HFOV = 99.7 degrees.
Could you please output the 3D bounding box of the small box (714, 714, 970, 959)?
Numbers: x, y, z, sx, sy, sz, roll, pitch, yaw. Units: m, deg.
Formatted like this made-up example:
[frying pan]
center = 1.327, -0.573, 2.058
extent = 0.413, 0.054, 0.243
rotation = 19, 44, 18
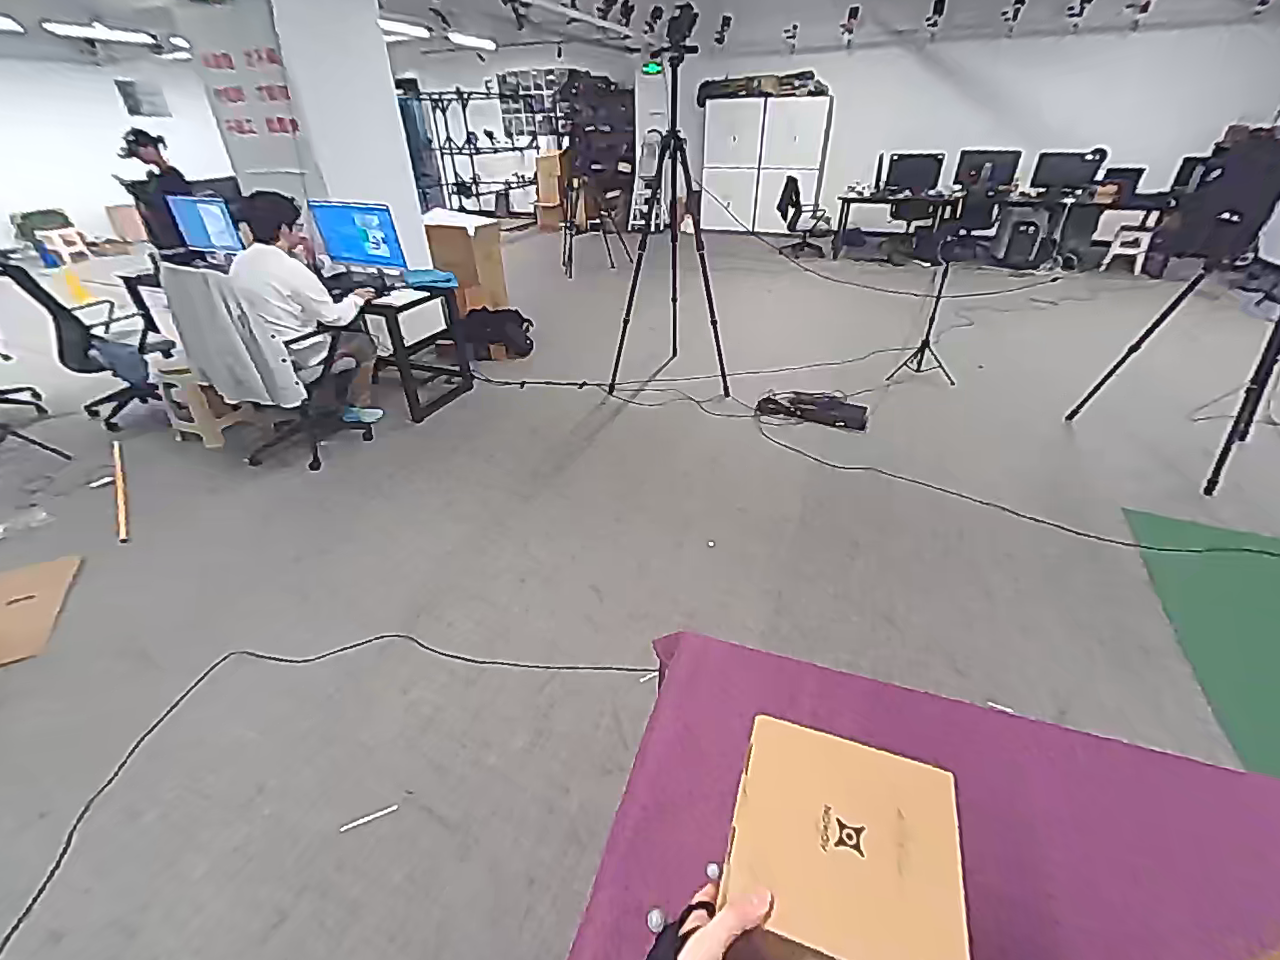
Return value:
[small box]
center = 0.169, 0.350, 0.484
extent = 0.179, 0.176, 0.168
rotation = 11, 40, 18
